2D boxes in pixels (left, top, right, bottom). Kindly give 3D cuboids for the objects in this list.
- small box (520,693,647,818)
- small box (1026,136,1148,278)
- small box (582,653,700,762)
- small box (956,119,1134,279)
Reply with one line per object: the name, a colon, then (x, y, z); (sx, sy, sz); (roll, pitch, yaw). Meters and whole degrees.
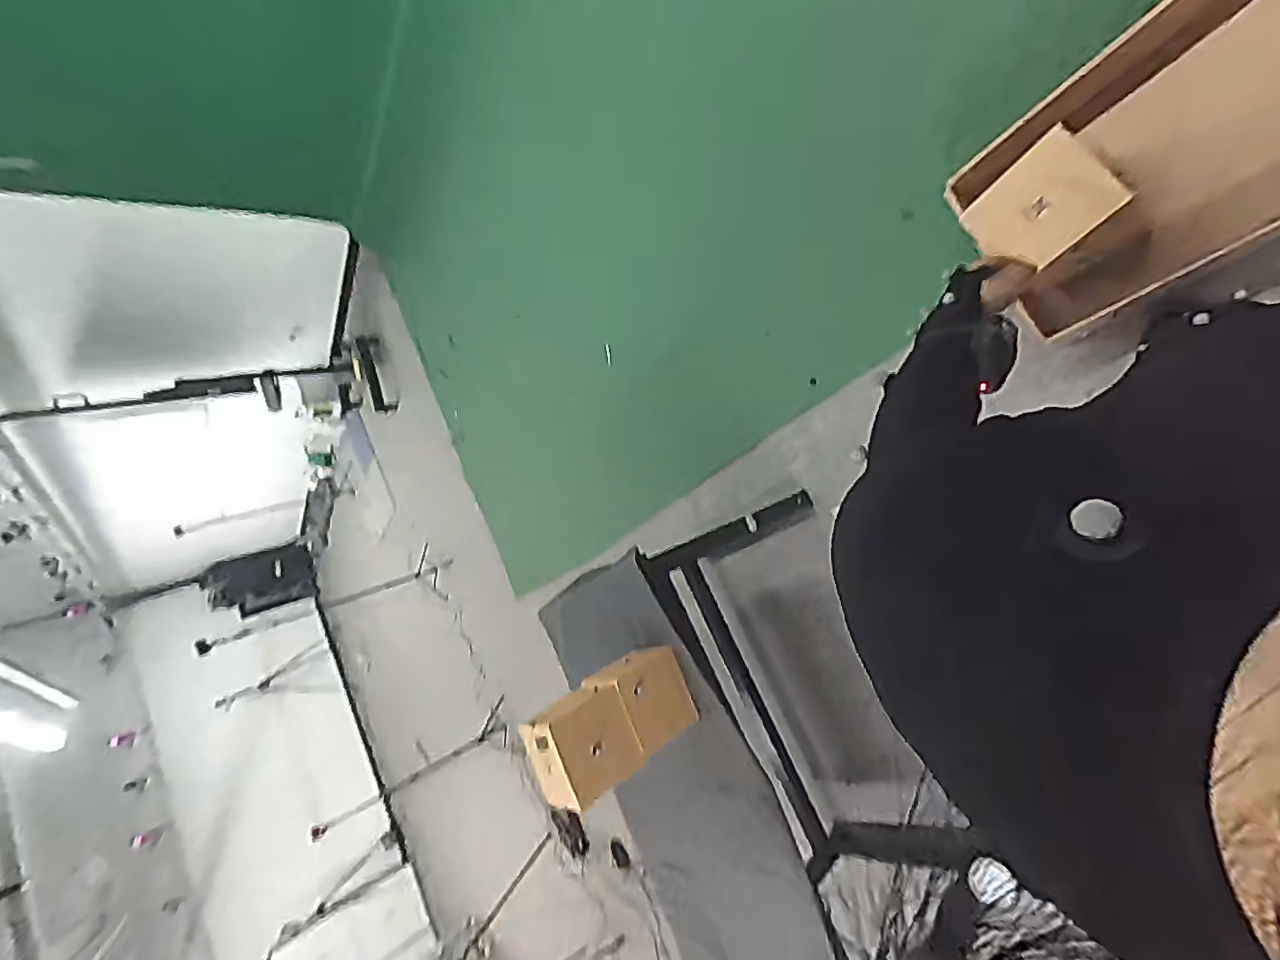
small box: (-0.118, 0.562, 1.131); (0.168, 0.176, 0.179); (-33, 79, 50)
small box: (0.813, -0.504, 1.029); (0.179, 0.176, 0.168); (-34, 78, 48)
small box: (0.003, 0.506, 1.228); (0.168, 0.176, 0.179); (-32, 80, 51)
small box: (0.692, -0.465, 0.924); (0.168, 0.176, 0.179); (57, 135, 15)
